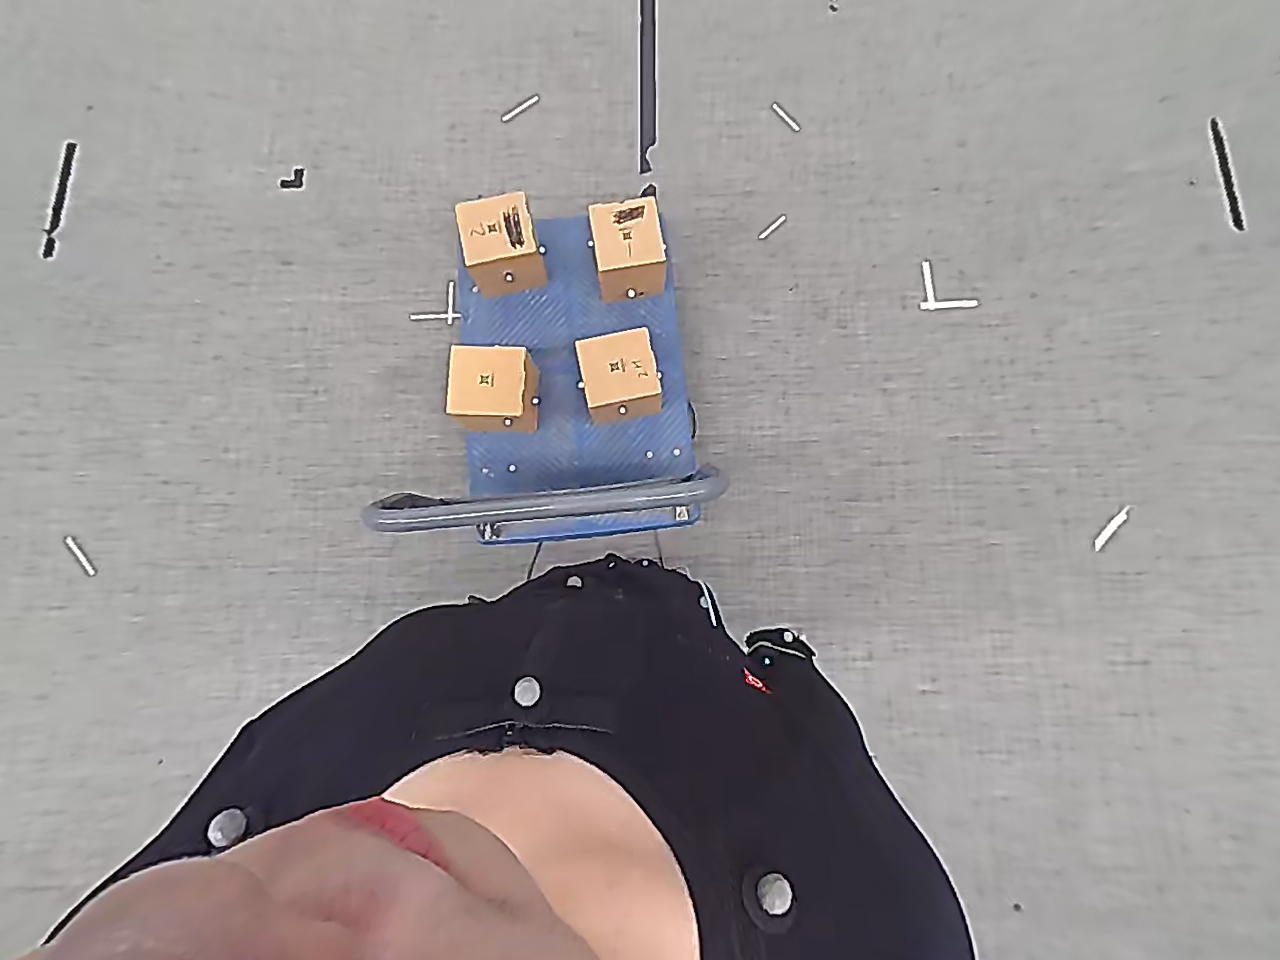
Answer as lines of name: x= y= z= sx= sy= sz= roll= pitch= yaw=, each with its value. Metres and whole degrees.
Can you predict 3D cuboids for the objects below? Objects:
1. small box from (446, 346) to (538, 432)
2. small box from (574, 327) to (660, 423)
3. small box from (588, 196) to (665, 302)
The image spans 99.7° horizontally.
small box: x=-0.354 y=-0.216 z=1.318 sx=0.179 sy=0.176 sz=0.168 roll=1 pitch=81 yaw=-1
small box: x=-0.051 y=-0.248 z=1.321 sx=0.179 sy=0.176 sz=0.168 roll=-12 pitch=81 yaw=-2
small box: x=-0.034 y=-0.581 z=1.373 sx=0.168 sy=0.176 sz=0.179 roll=-10 pitch=82 yaw=-1
